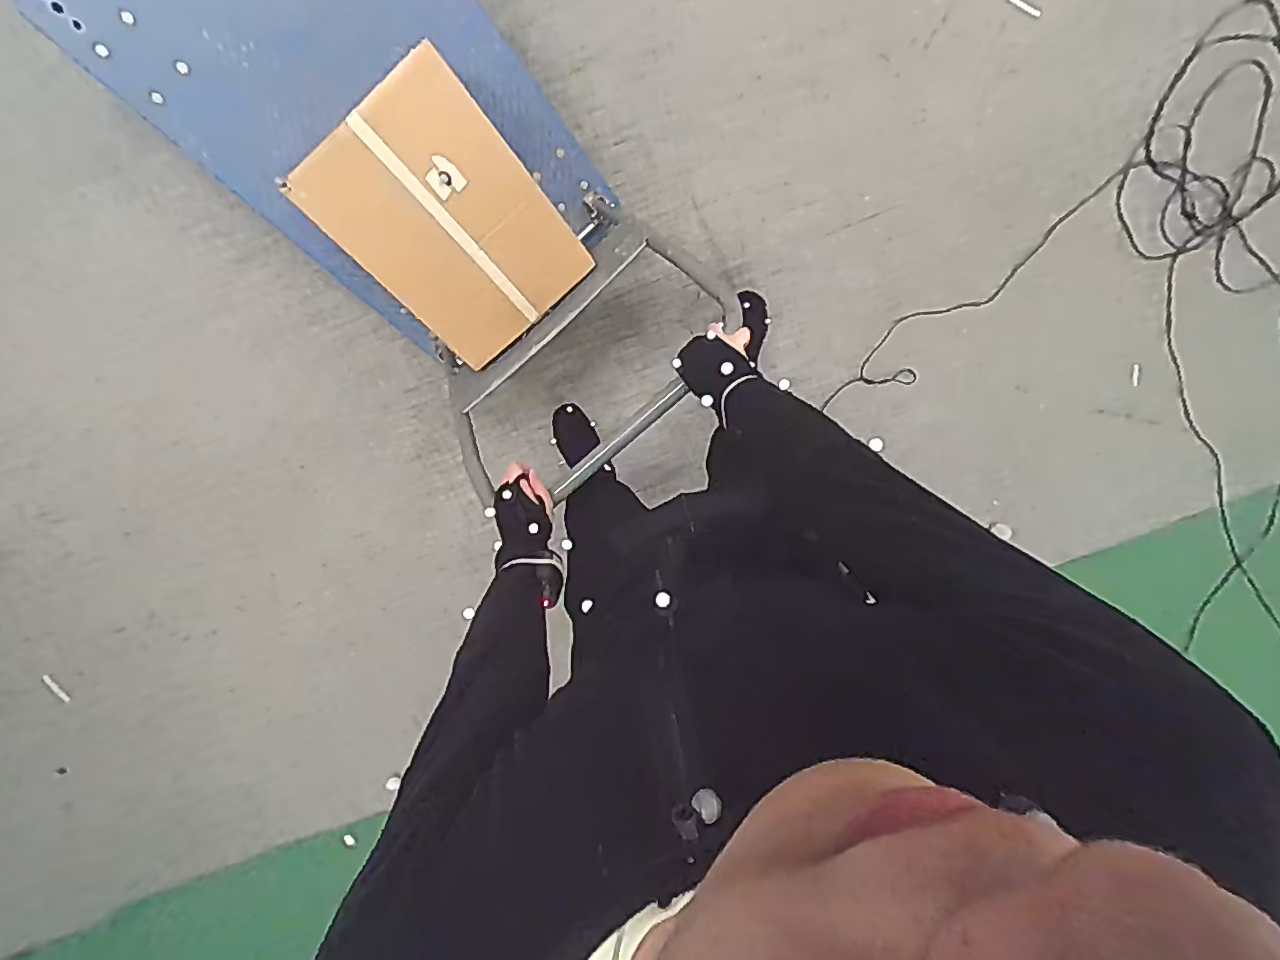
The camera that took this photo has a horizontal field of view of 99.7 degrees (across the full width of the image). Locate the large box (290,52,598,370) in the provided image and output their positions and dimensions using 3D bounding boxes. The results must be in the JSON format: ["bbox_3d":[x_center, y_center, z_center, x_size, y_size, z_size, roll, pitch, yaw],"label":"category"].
[{"bbox_3d":[-0.347,-0.494,1.035,0.320,0.320,0.408,-40,126,8],"label":"large box"}]
